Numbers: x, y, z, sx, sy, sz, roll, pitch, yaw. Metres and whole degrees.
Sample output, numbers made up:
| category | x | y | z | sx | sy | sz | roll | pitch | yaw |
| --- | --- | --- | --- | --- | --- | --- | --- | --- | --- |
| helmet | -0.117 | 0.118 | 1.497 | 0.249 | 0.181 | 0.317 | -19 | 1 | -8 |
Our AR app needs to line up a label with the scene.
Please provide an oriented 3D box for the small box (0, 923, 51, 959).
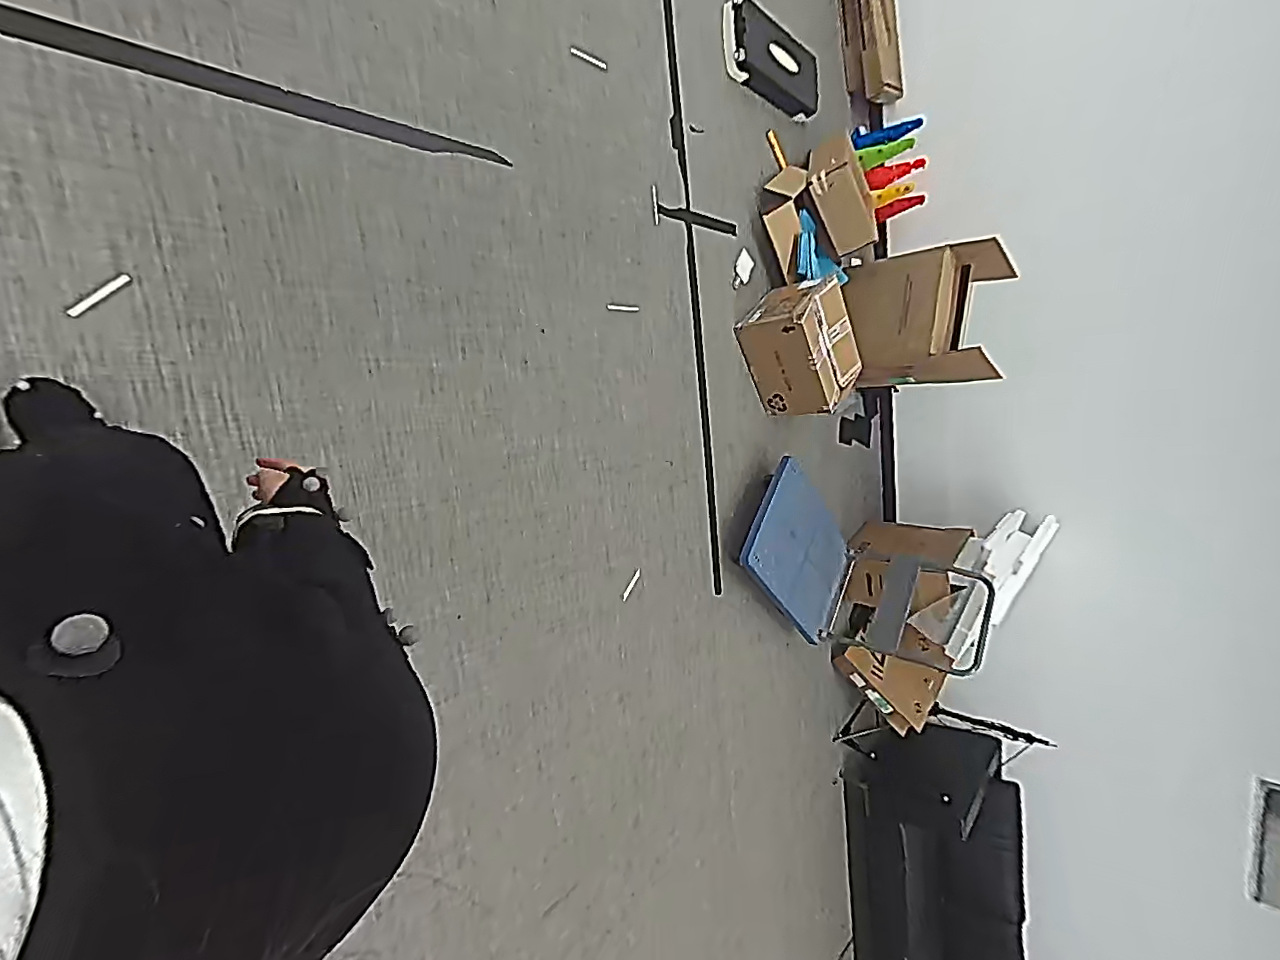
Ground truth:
| category | x | y | z | sx | sy | sz | roll | pitch | yaw |
| --- | --- | --- | --- | --- | --- | --- | --- | --- | --- |
| small box | -1.081 | 0.886 | 0.868 | 0.179 | 0.176 | 0.168 | -20 | 107 | -43 |
